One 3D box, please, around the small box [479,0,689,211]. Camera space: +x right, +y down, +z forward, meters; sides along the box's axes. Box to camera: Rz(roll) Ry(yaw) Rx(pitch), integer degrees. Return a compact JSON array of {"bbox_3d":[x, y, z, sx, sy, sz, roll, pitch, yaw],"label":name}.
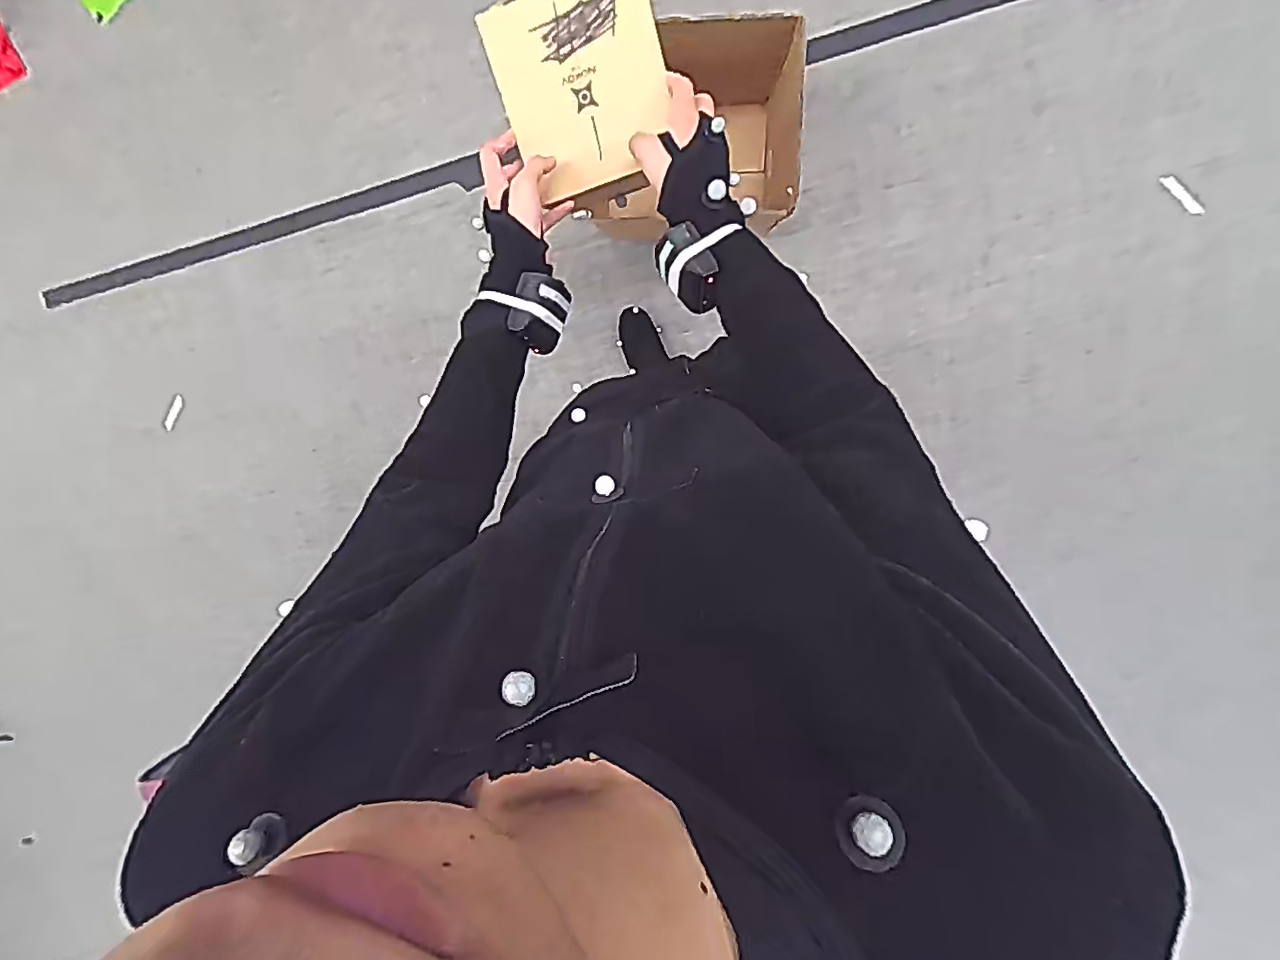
[{"bbox_3d":[-0.046,-0.416,0.598,0.168,0.176,0.179,-14,112,12],"label":"small box"}]
